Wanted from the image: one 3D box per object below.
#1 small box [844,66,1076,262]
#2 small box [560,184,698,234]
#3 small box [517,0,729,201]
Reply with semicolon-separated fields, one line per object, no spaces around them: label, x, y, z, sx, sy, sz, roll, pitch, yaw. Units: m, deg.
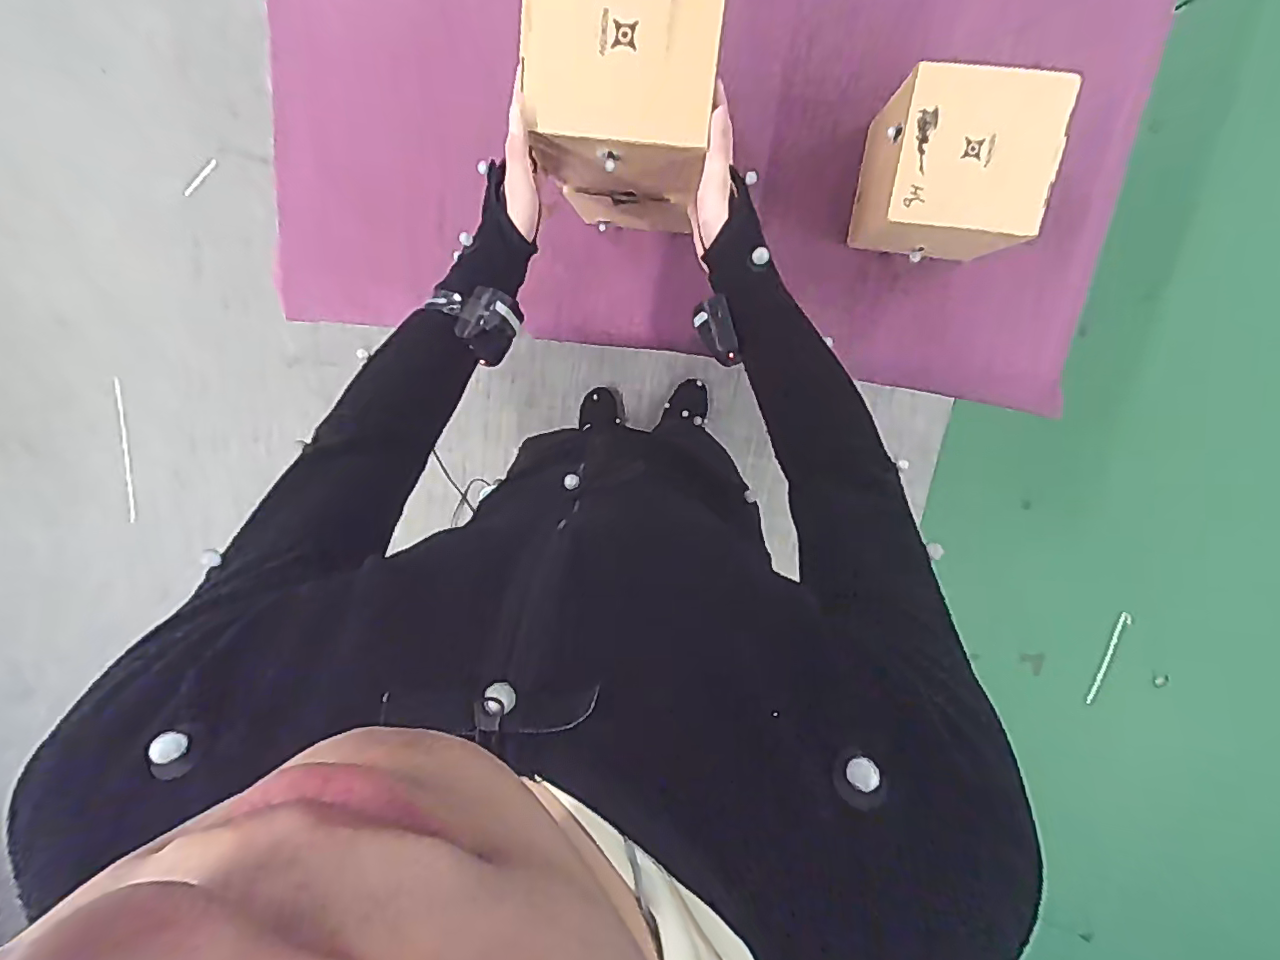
small box;0.386;-0.384;0.688;0.179;0.176;0.168;8;103;2
small box;-0.001;-0.433;0.704;0.168;0.176;0.179;6;102;2
small box;-0.011;-0.397;0.545;0.179;0.176;0.168;7;104;2
